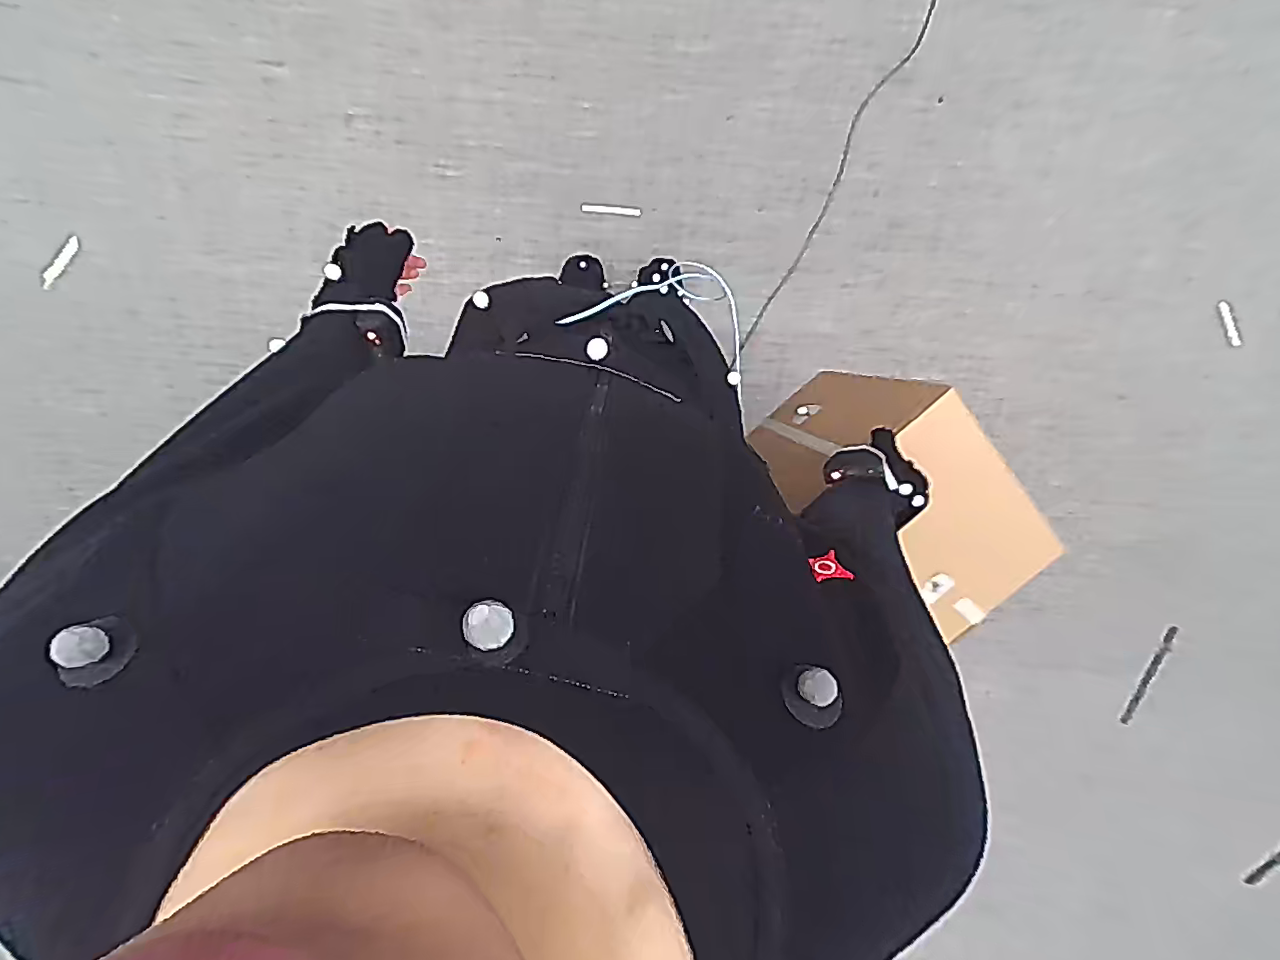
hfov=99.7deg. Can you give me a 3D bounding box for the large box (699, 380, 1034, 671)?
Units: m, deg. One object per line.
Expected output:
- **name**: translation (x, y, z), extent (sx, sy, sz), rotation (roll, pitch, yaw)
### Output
- **large box**: translation (0.354, 0.047, 0.954), extent (0.320, 0.408, 0.320), rotation (-40, 104, 4)
